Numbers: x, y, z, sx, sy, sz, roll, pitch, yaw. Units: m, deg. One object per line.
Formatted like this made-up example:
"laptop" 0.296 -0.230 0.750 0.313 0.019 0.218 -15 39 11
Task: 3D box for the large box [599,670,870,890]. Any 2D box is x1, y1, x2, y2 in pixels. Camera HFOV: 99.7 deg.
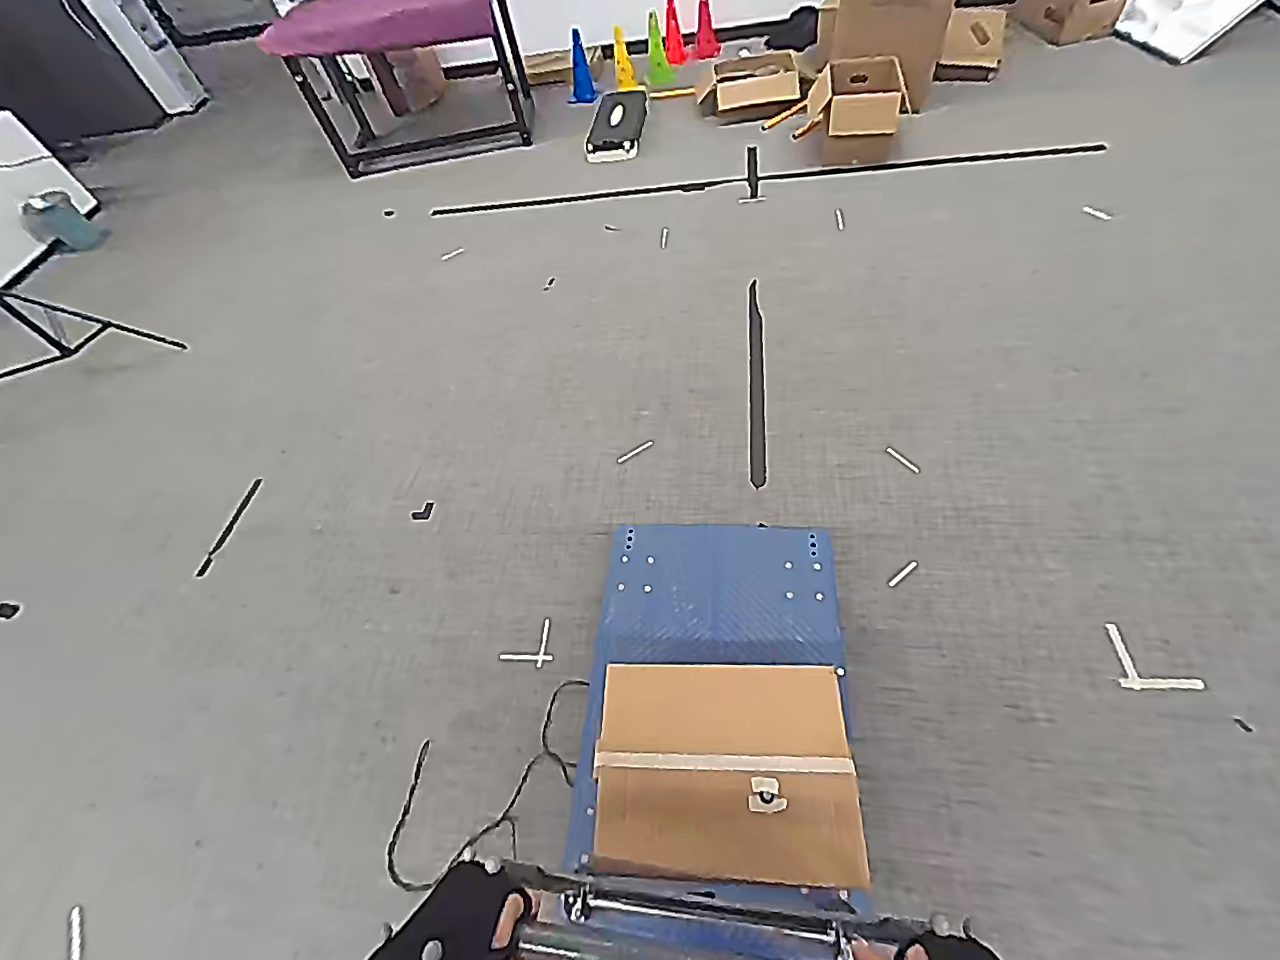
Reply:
"large box" 0.153 0.552 0.995 0.408 0.320 0.320 -2 55 7
